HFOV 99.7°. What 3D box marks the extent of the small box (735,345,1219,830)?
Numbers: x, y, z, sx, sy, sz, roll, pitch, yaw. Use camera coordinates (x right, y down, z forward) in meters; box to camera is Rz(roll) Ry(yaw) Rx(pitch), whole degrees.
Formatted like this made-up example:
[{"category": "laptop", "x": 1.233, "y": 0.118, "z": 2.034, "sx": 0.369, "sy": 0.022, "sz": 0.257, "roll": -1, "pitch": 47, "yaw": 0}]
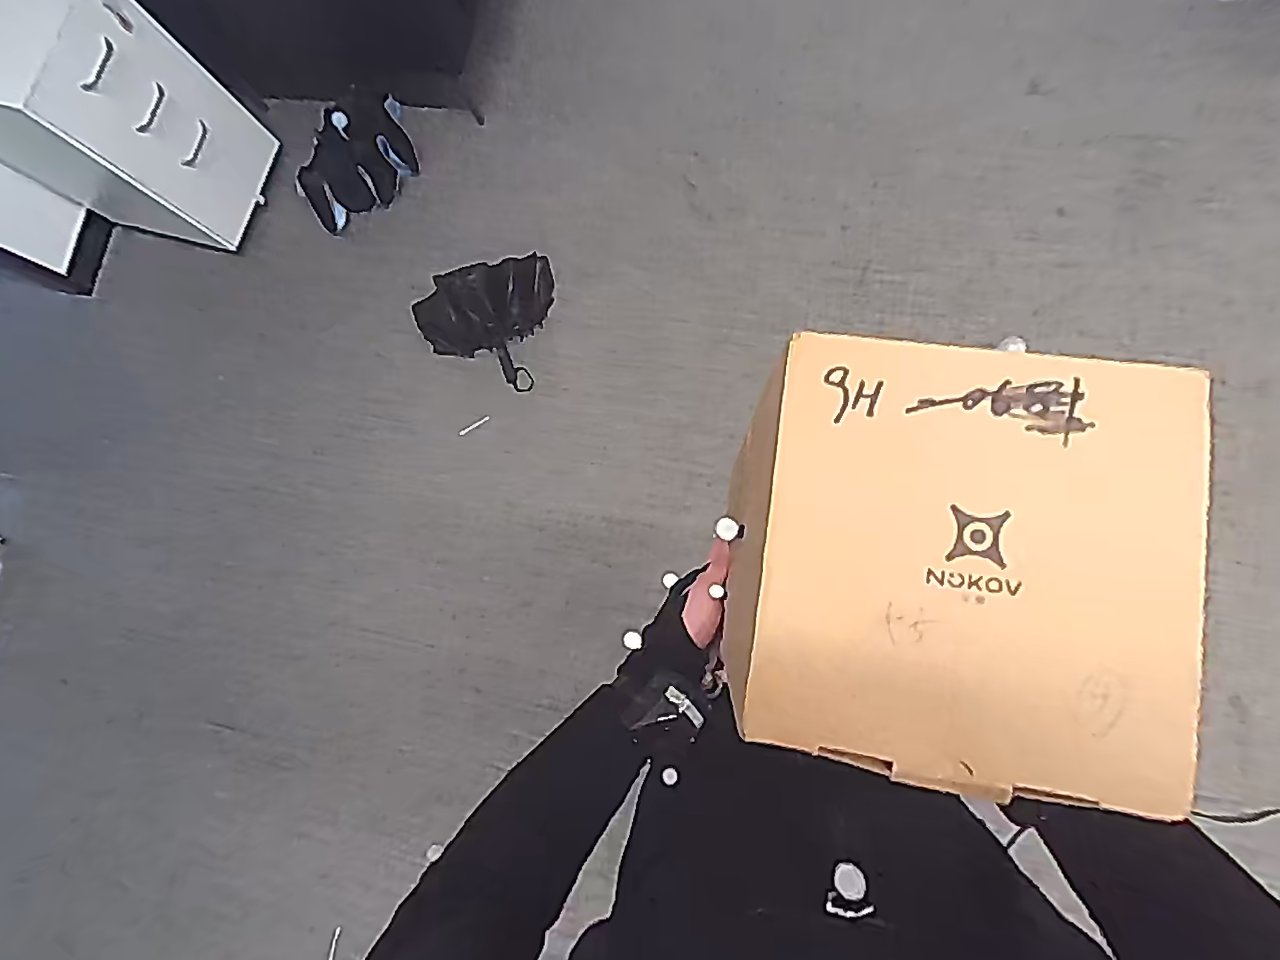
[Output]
[{"category": "small box", "x": 0.144, "y": 0.042, "z": 0.296, "sx": 0.168, "sy": 0.176, "sz": 0.179, "roll": 7, "pitch": 86, "yaw": 8}]
